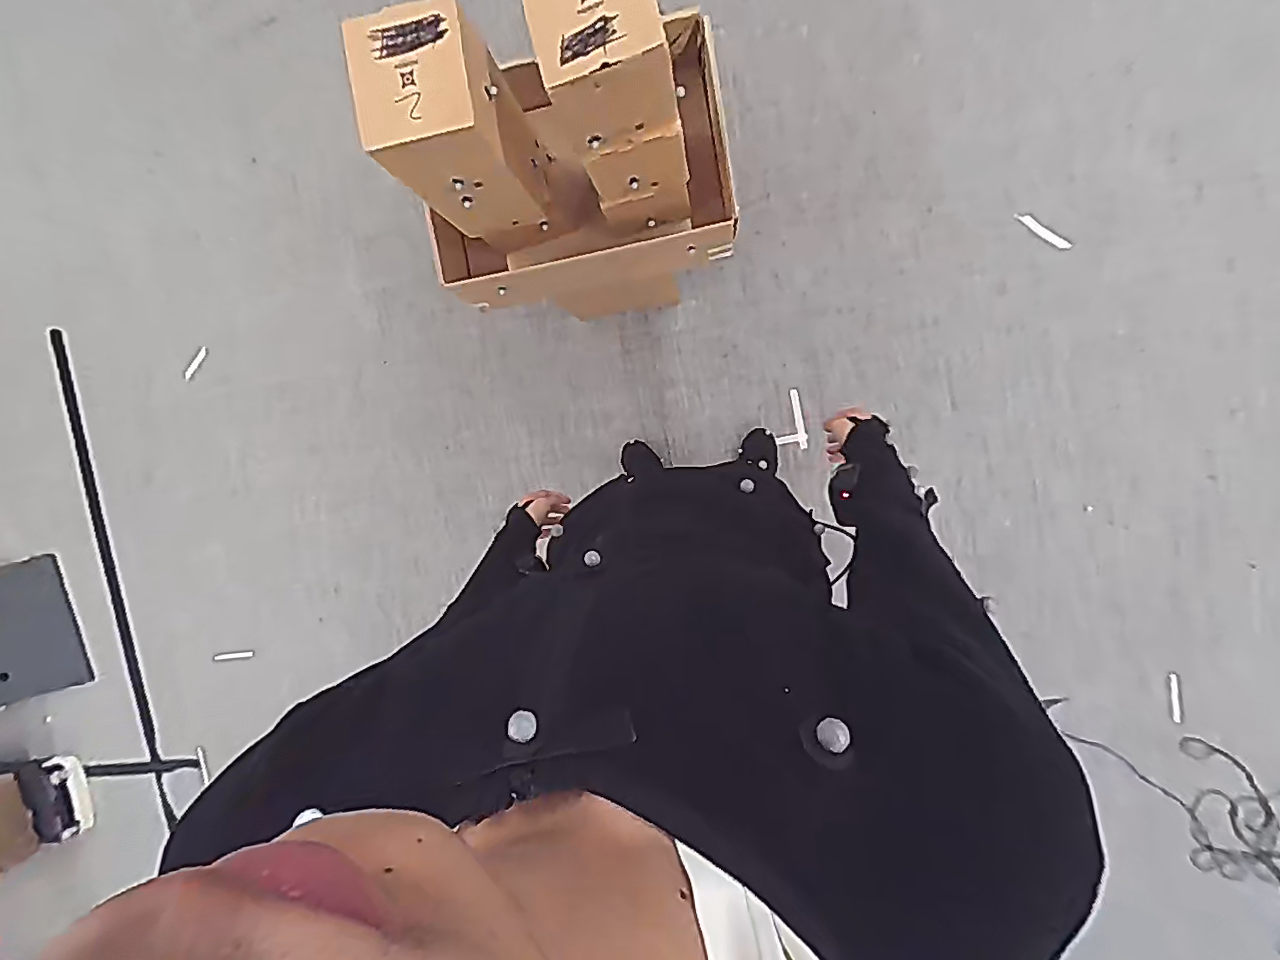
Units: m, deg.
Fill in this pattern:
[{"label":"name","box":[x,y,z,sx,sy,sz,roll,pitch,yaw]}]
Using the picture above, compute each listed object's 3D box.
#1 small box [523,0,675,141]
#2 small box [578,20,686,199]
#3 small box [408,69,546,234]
[{"label":"small box","box":[-0.053,-0.612,0.756,0.168,0.176,0.179,-15,93,9]},{"label":"small box","box":[-0.020,-0.616,0.917,0.168,0.176,0.179,-12,94,9]},{"label":"small box","box":[-0.279,-0.569,0.959,0.168,0.176,0.179,-8,93,10]}]
